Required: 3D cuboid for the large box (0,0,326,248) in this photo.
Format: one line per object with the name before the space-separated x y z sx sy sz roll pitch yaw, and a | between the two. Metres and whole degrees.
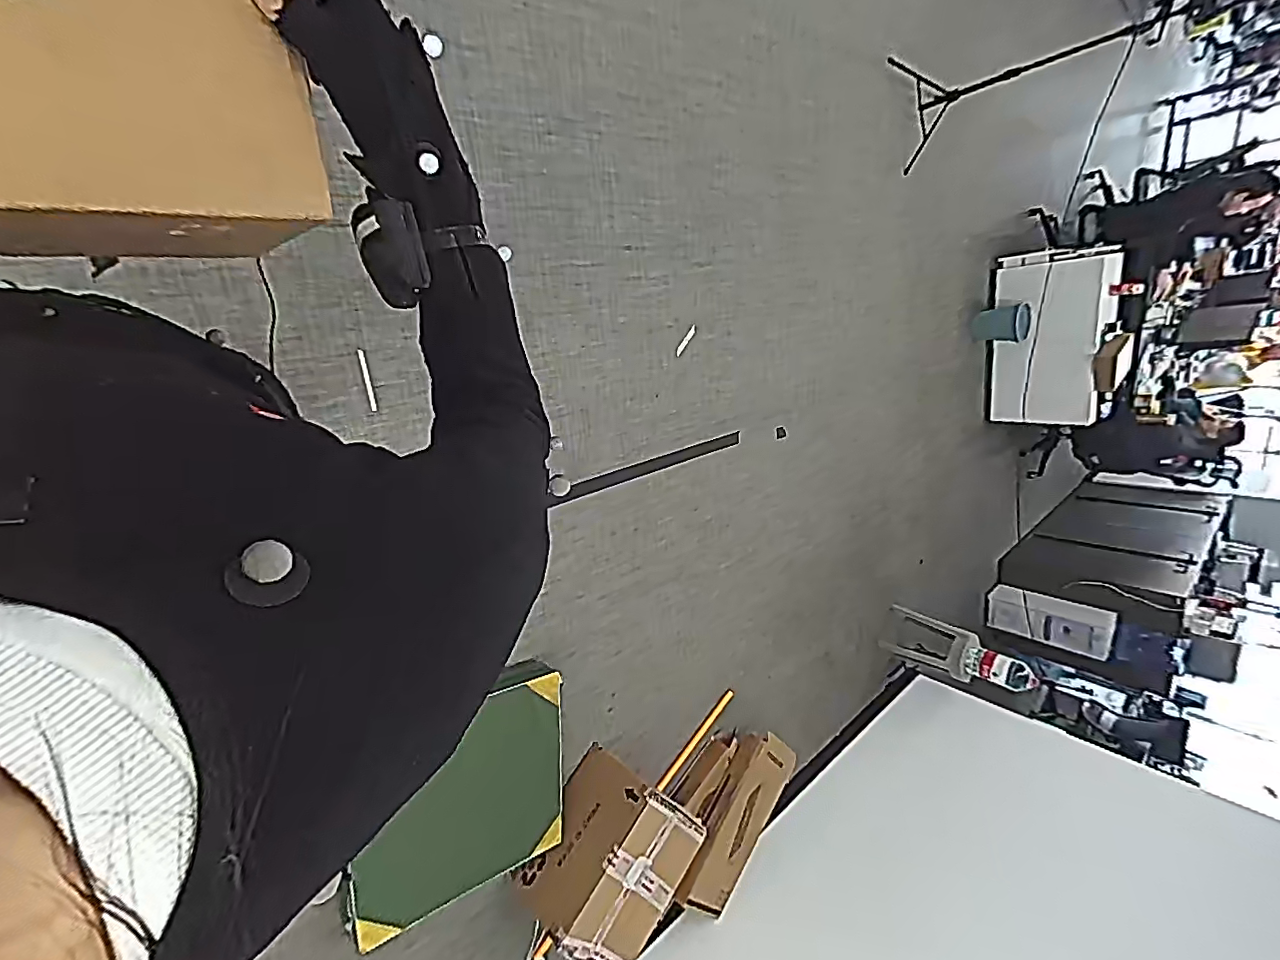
large box | -0.471 -0.309 0.306 0.408 0.320 0.320 -19 116 -39
